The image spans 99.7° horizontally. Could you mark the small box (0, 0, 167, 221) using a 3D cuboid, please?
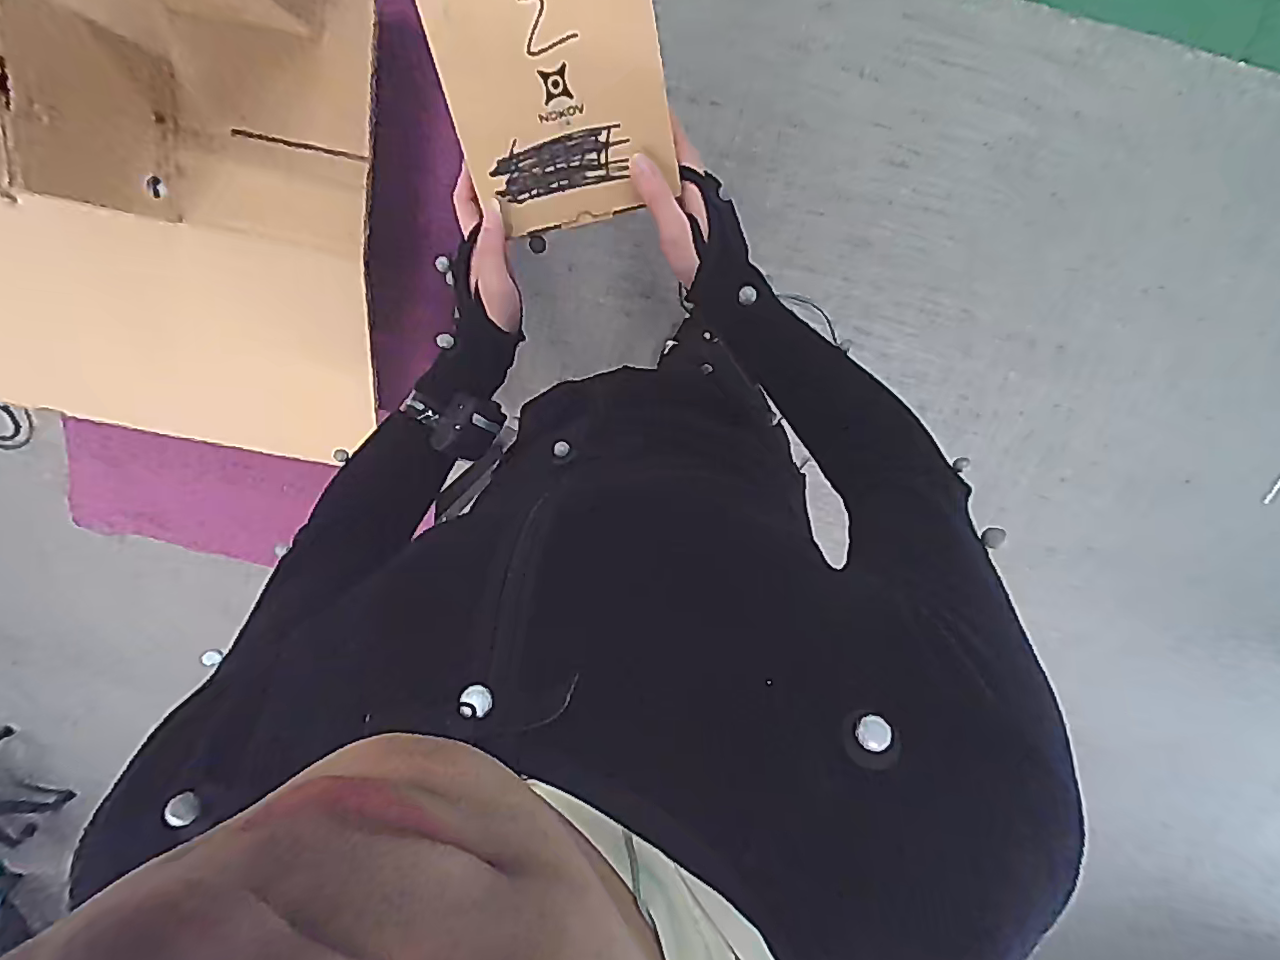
[{"bbox_3d":[-0.605,-0.362,0.522,0.179,0.176,0.168,11,106,0],"label":"small box"}]

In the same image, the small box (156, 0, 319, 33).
[{"bbox_3d":[-0.408,-0.530,0.464,0.179,0.176,0.168,11,107,-1],"label":"small box"}]

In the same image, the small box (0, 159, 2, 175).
[{"bbox_3d":[-0.620,-0.317,0.367,0.179,0.176,0.168,10,106,-1],"label":"small box"}]
